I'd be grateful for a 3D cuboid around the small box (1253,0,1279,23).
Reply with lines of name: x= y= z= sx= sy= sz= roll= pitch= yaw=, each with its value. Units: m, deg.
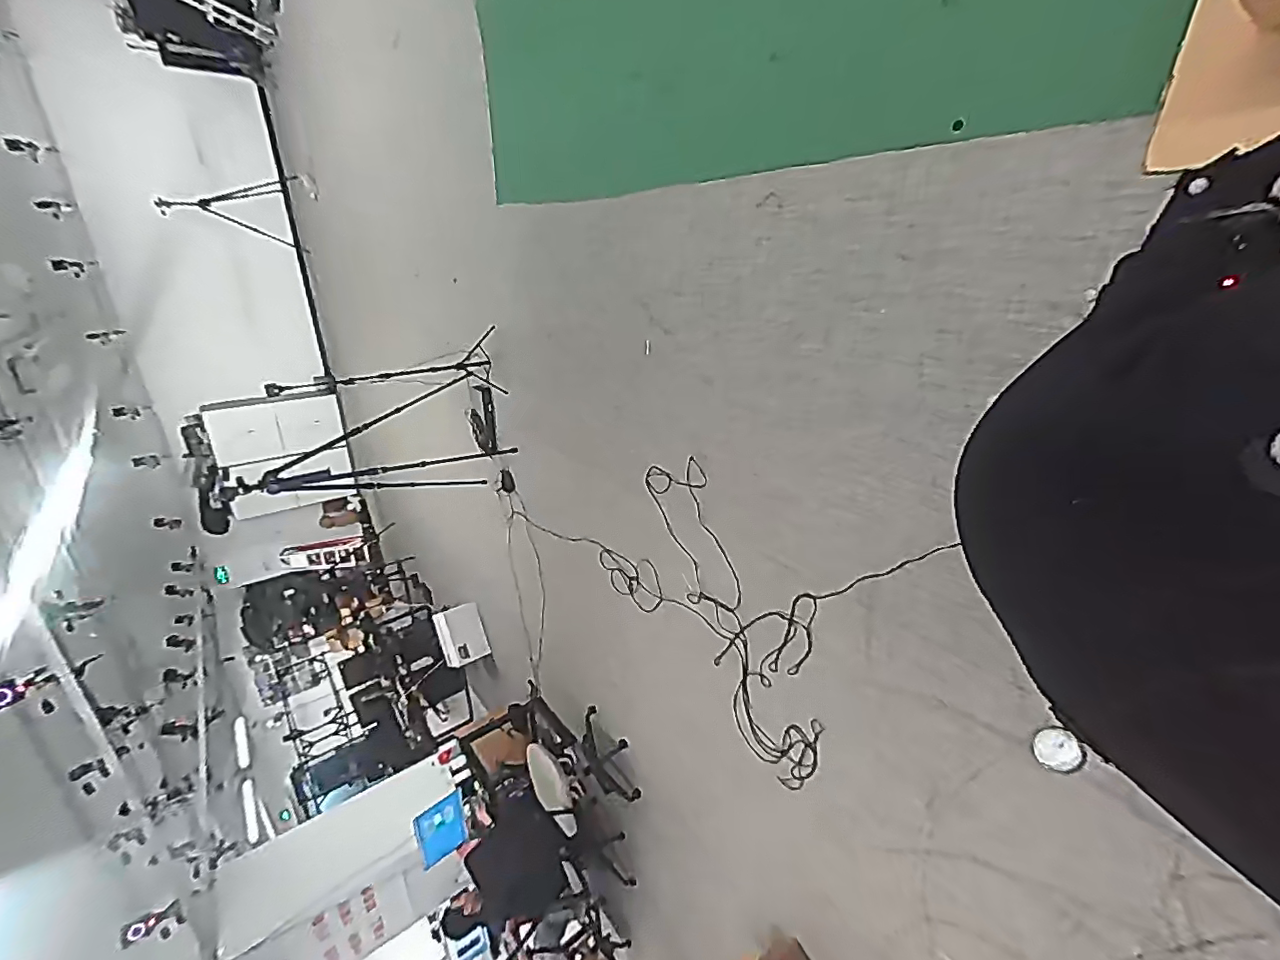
small box: x=1.004 y=-0.787 z=0.755 sx=0.168 sy=0.176 sz=0.179 roll=28 pitch=126 yaw=48
